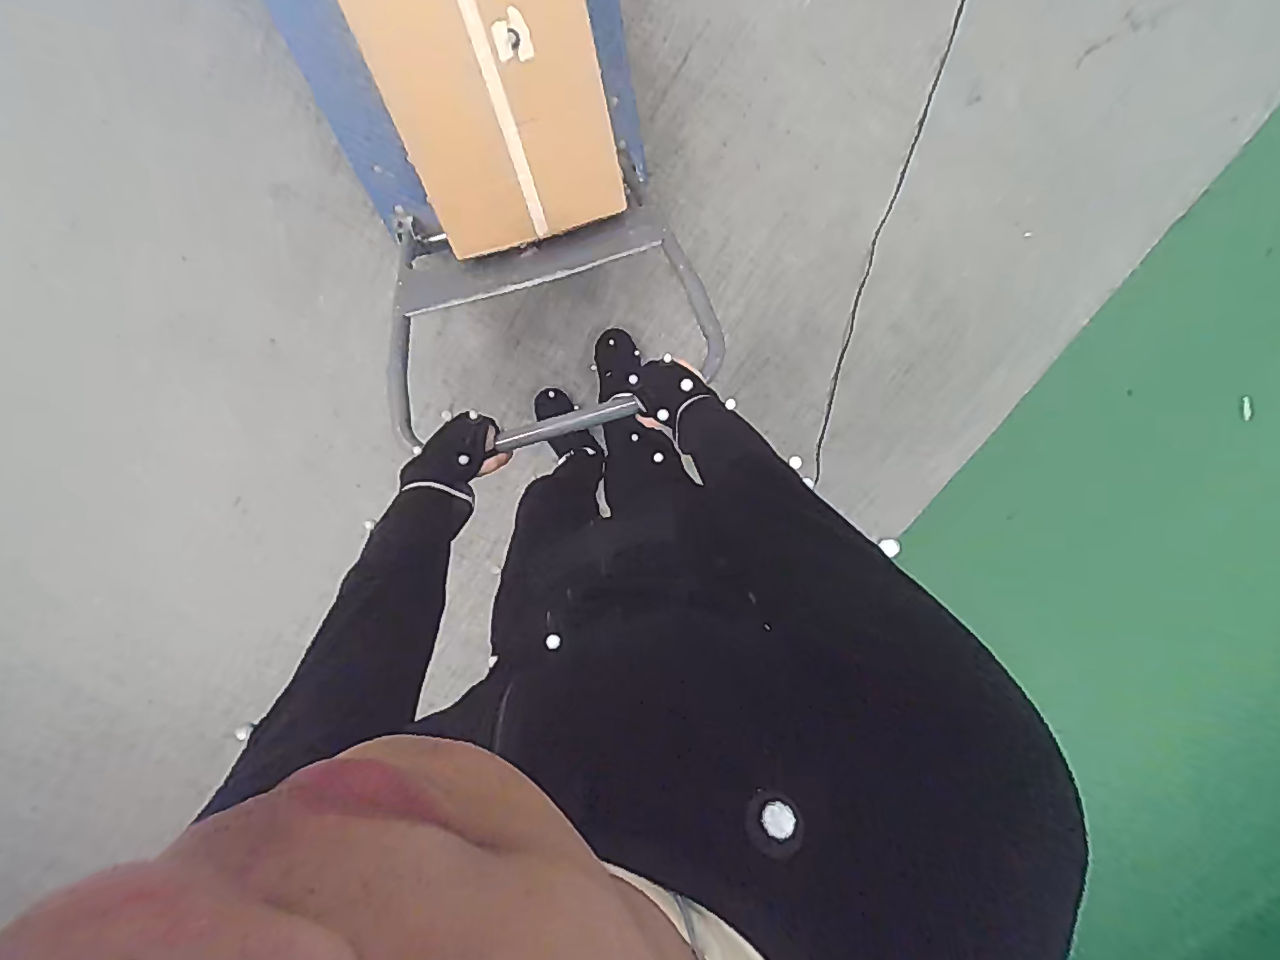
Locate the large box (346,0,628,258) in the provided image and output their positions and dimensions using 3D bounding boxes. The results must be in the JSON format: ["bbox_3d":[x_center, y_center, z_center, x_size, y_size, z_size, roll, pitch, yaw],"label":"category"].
[{"bbox_3d":[-0.233,-0.669,0.925,0.320,0.320,0.408,-16,137,0],"label":"large box"}]
